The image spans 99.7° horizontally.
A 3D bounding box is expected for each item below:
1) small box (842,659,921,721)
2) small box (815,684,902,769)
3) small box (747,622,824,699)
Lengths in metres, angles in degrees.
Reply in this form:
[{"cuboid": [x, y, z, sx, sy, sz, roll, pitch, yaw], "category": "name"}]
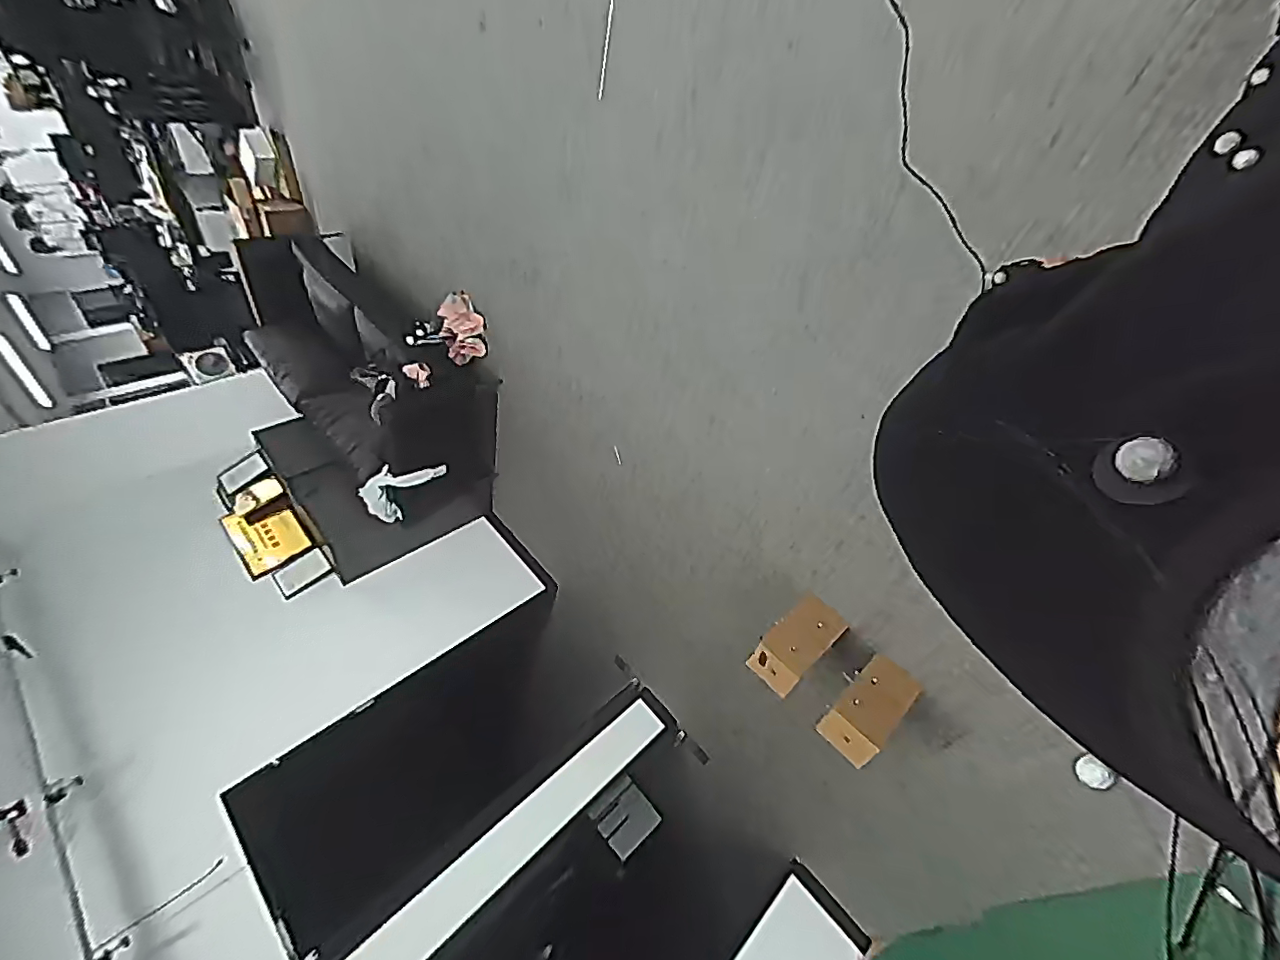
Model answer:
[{"cuboid": [0.844, 0.759, 1.903, 0.179, 0.176, 0.168, 40, 138, 26], "category": "small box"}, {"cuboid": [0.728, 0.812, 1.801, 0.179, 0.176, 0.168, 40, 139, 26], "category": "small box"}, {"cuboid": [0.521, 0.636, 1.935, 0.179, 0.176, 0.168, 41, 139, 25], "category": "small box"}]
